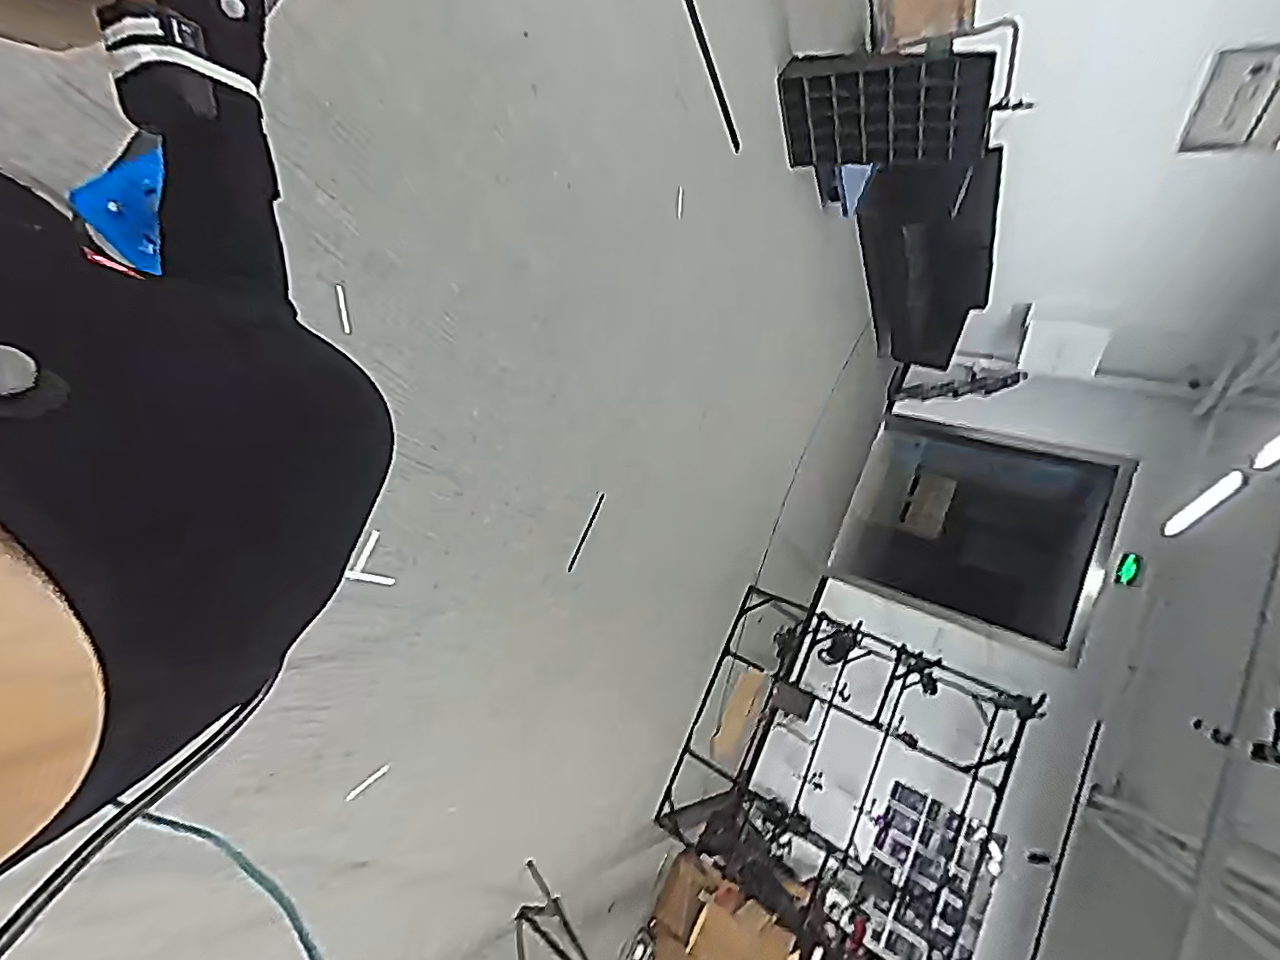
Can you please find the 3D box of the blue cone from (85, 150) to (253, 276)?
[{"bbox_3d":[-0.825,-0.487,1.003,0.192,0.380,0.193,-53,143,-26],"label":"blue cone"}]

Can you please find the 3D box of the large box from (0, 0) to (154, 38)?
[{"bbox_3d":[-0.558,-0.476,0.250,0.408,0.320,0.320,-22,128,-51],"label":"large box"}]
